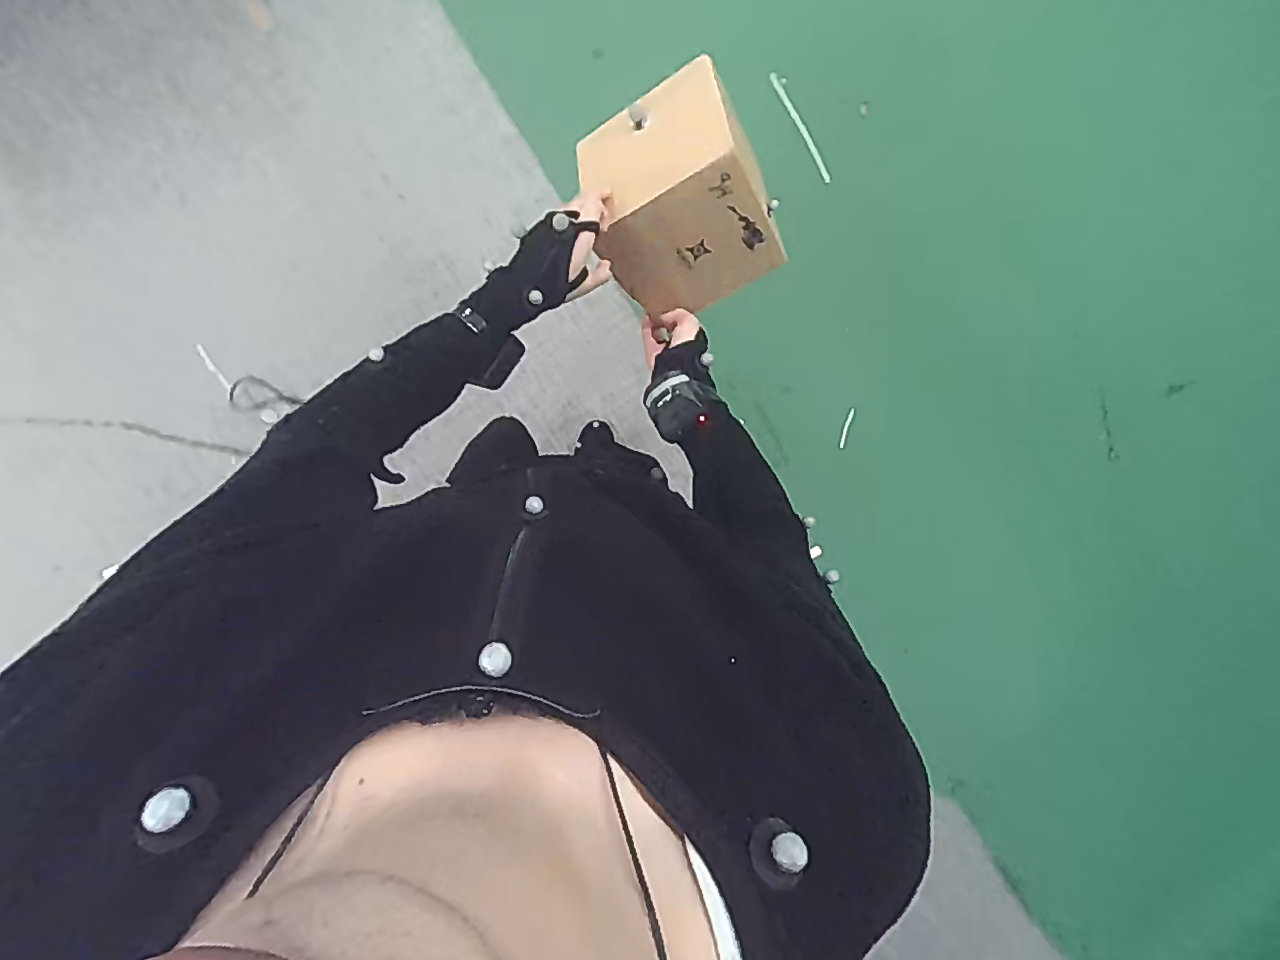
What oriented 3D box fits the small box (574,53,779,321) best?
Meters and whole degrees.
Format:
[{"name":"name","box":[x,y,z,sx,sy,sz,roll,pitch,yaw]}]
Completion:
[{"name":"small box","box":[0.038,-0.328,0.627,0.179,0.168,0.176,-21,61,25]}]
